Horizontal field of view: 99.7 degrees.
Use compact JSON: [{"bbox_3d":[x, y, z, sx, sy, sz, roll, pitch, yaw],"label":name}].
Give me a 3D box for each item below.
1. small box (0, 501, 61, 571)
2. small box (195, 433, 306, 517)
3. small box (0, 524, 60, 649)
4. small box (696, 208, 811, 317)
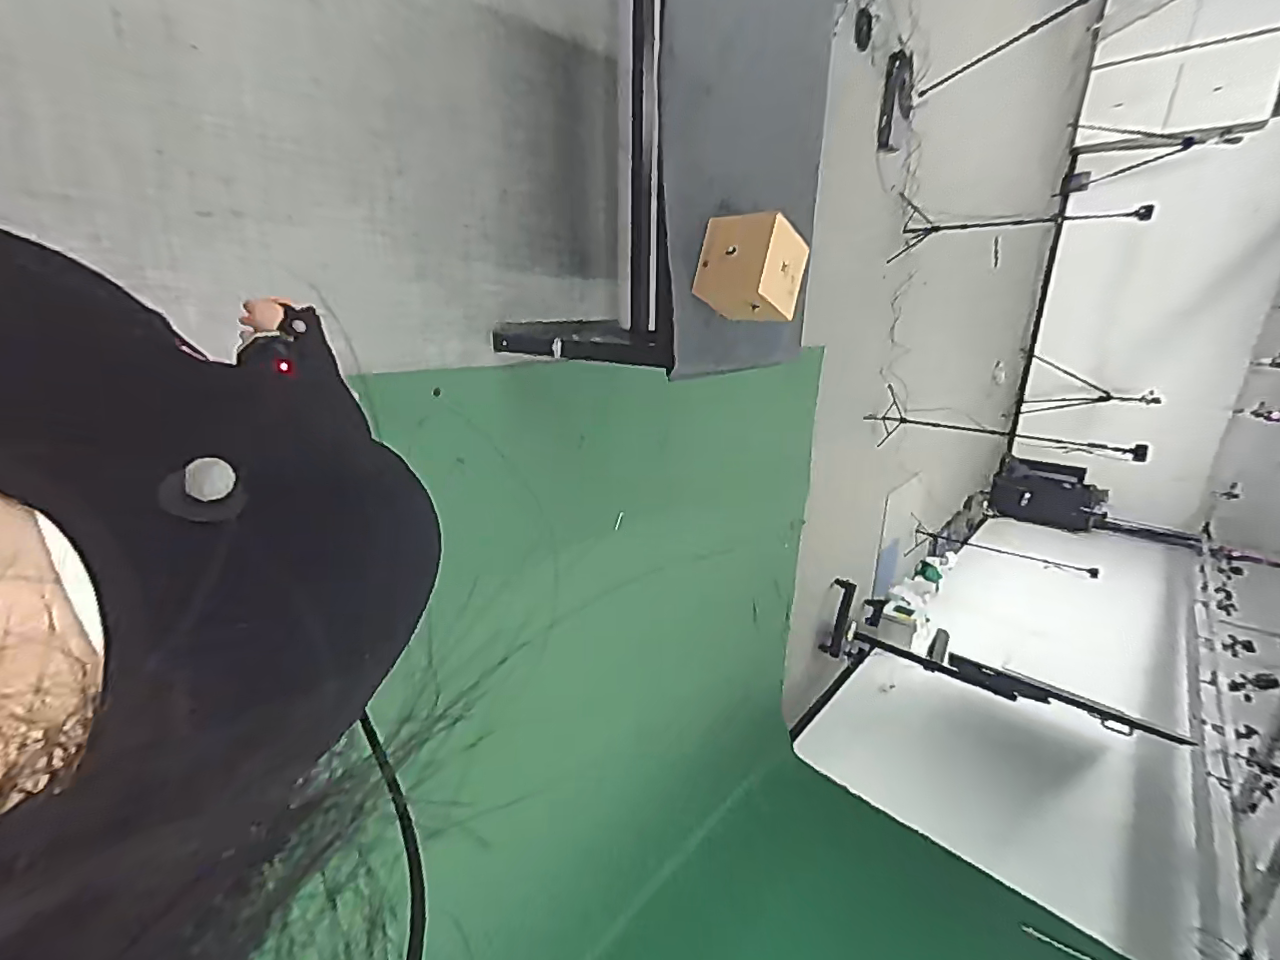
[{"bbox_3d":[-1.163,0.125,0.926,0.168,0.176,0.179,-54,135,-22],"label":"small box"},{"bbox_3d":[-0.859,0.007,1.231,0.168,0.176,0.179,-59,138,-17],"label":"small box"},{"bbox_3d":[-1.047,0.169,0.820,0.168,0.176,0.179,-36,128,-34],"label":"small box"},{"bbox_3d":[0.245,-0.465,1.183,0.179,0.176,0.168,11,94,-52],"label":"small box"}]
